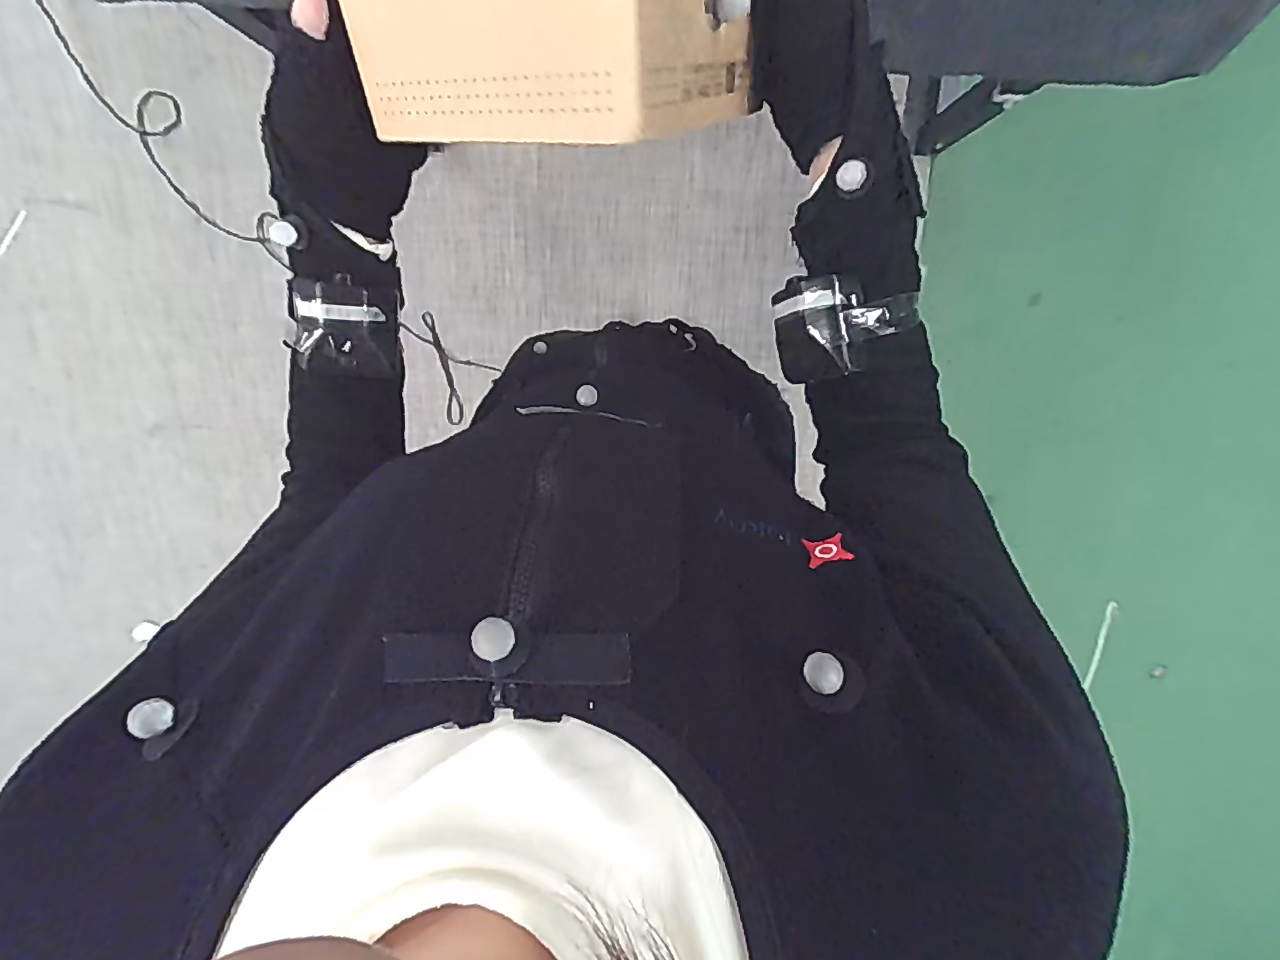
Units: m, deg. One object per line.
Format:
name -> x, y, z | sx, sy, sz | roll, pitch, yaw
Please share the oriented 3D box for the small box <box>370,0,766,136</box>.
small box -> -0.037, -0.291, 0.291 | 0.179, 0.168, 0.176 | 17, 133, 22
